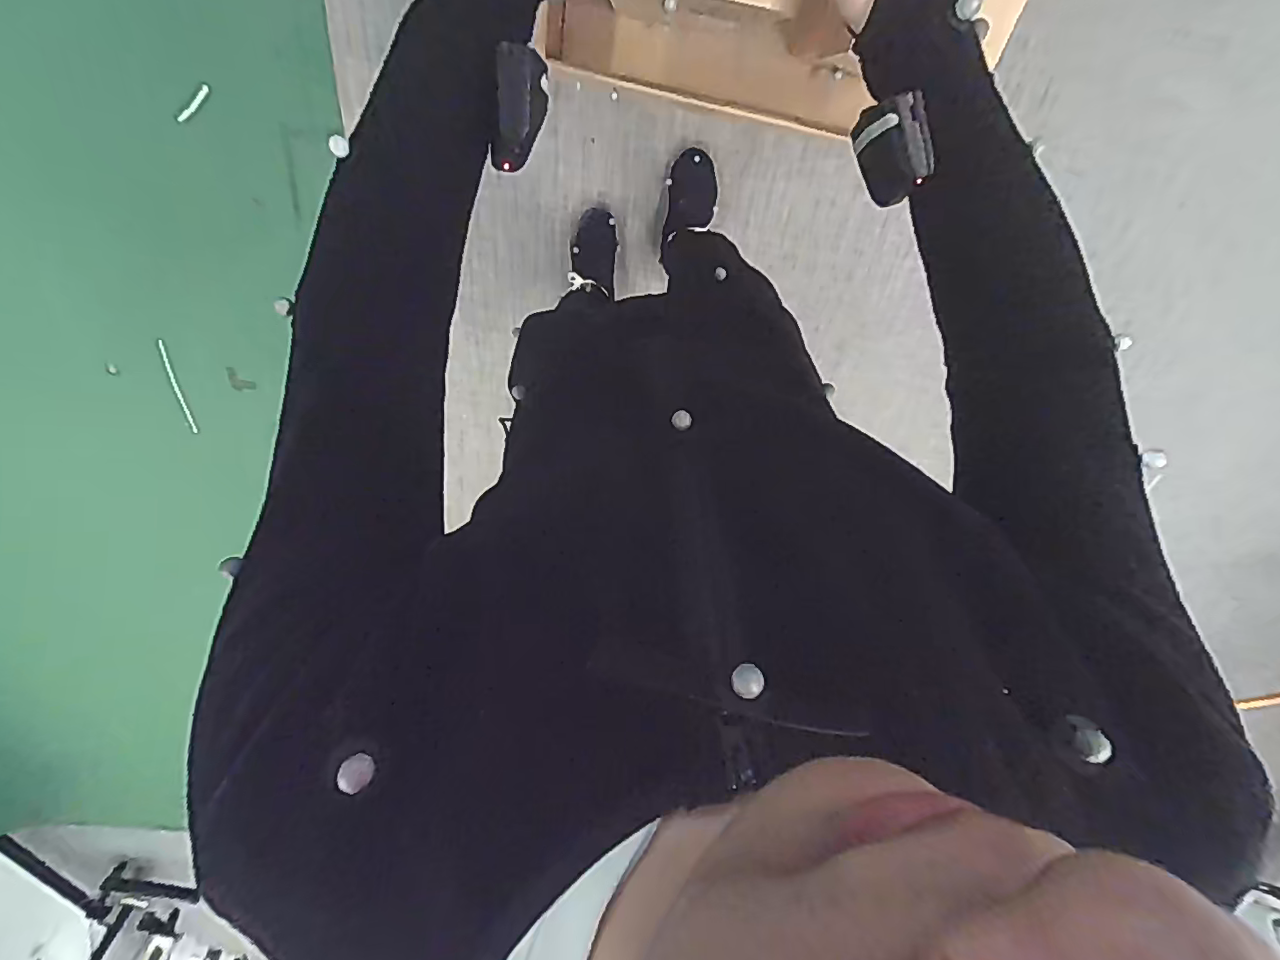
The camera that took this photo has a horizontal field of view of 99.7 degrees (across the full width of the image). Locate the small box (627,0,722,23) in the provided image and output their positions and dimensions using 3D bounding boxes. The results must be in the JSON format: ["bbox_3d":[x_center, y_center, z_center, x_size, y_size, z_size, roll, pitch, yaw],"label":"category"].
[{"bbox_3d":[0.051,-0.626,0.587,0.168,0.176,0.179,9,126,-5],"label":"small box"}]

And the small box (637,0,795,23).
[{"bbox_3d":[0.049,-0.493,0.426,0.168,0.176,0.179,6,127,-9],"label":"small box"}]

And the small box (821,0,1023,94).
[{"bbox_3d":[0.327,-0.569,0.622,0.168,0.176,0.179,13,124,-6],"label":"small box"}]
